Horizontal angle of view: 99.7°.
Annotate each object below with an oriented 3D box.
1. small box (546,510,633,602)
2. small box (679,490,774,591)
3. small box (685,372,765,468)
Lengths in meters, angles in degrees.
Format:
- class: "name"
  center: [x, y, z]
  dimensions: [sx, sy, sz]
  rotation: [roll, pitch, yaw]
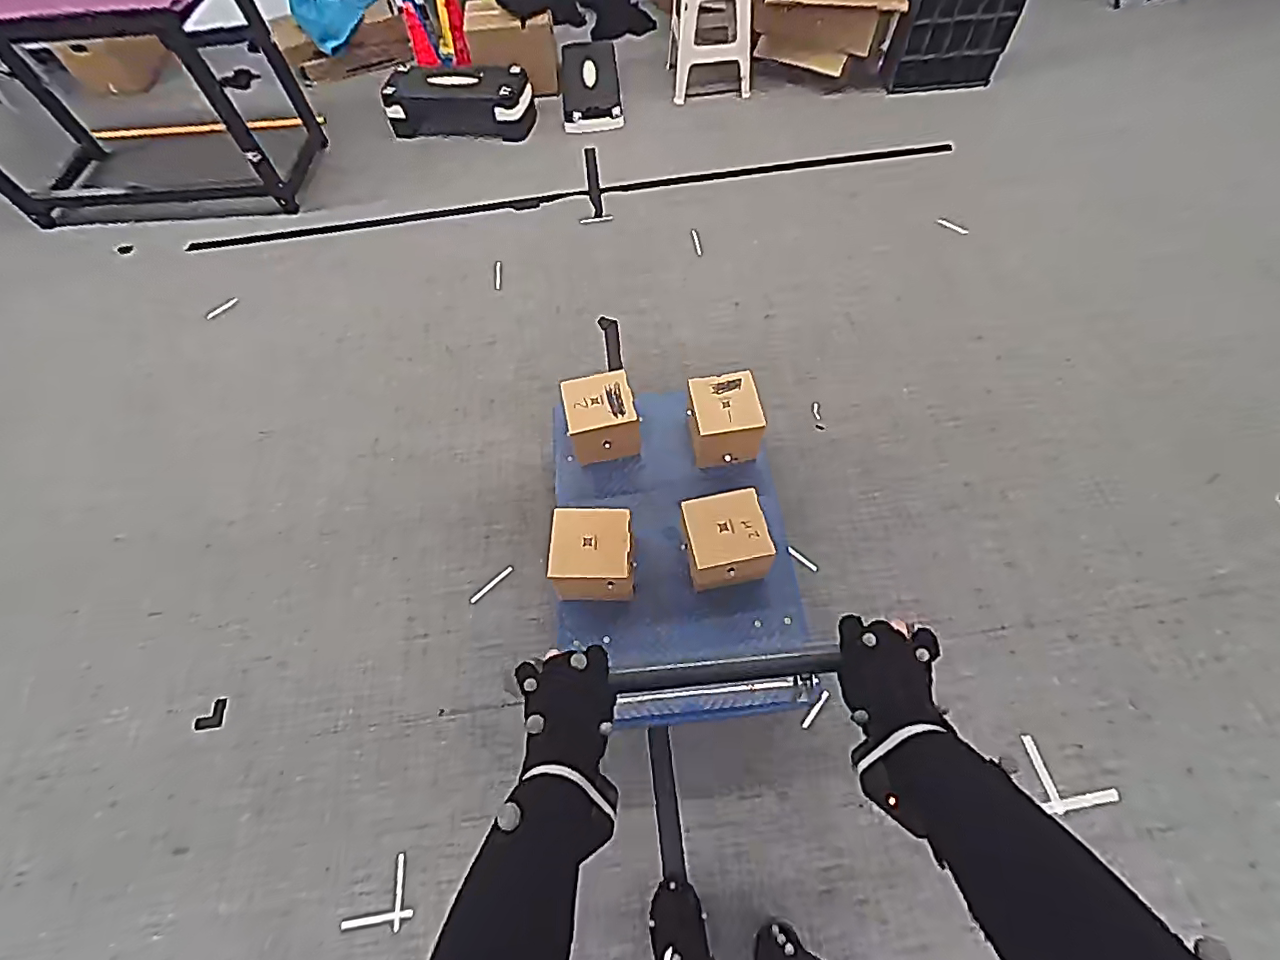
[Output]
- class: "small box"
  center: [-0.110, 0.180, 1.250]
  dimensions: [0.179, 0.176, 0.168]
  rotation: [0, 61, 1]
- class: "small box"
  center: [0.192, 0.145, 1.251]
  dimensions: [0.179, 0.176, 0.168]
  rotation: [-11, 62, -3]
- class: "small box"
  center: [0.213, -0.154, 1.411]
  dimensions: [0.168, 0.176, 0.179]
  rotation: [-9, 63, -1]
